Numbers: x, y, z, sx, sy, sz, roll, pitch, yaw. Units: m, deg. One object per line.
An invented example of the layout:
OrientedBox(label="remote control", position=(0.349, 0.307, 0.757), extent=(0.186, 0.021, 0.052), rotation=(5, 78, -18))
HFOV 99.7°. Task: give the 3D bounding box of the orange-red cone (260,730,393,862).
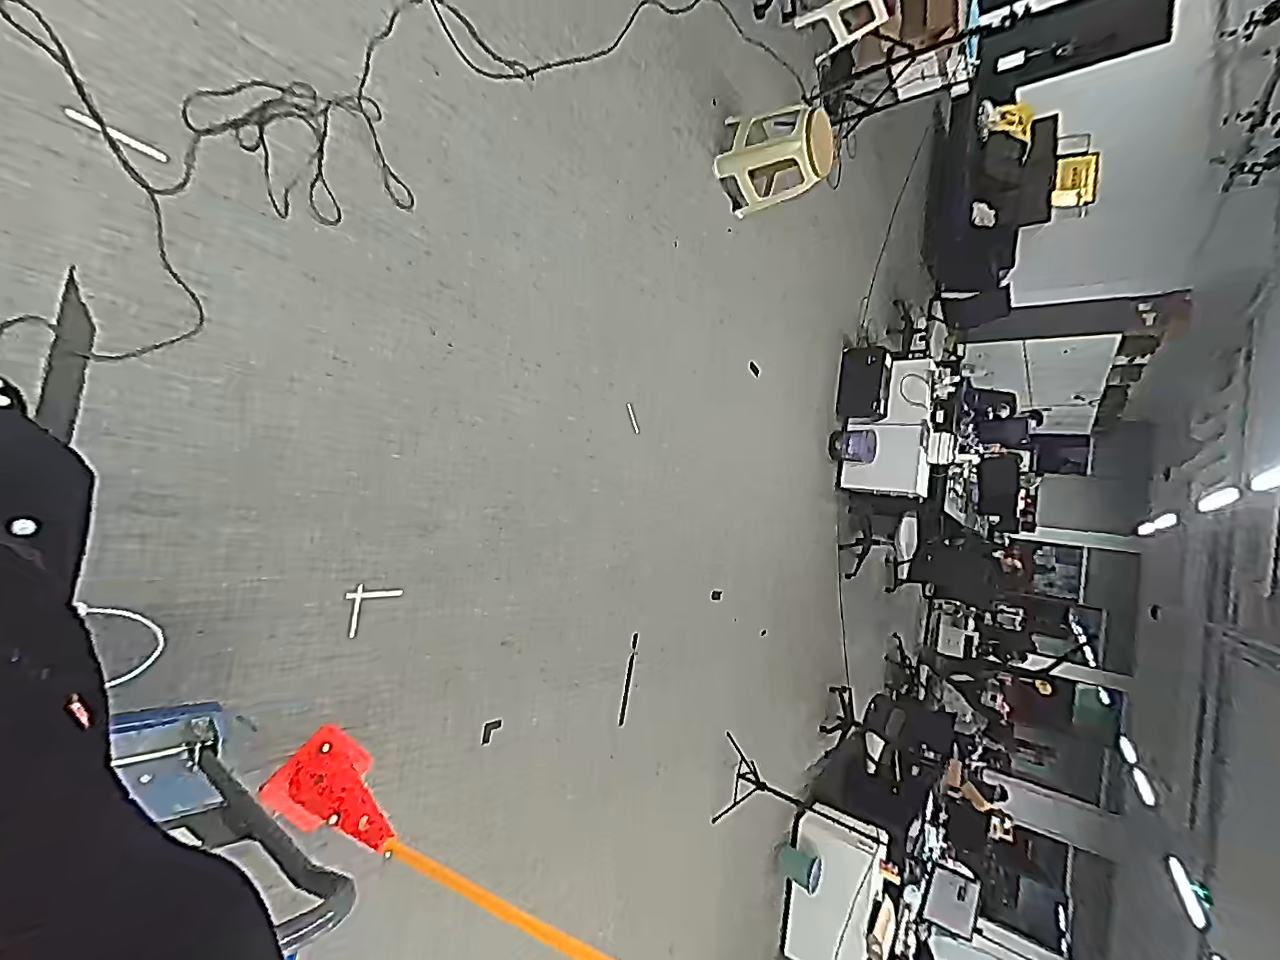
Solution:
OrientedBox(label="orange-red cone", position=(-0.668, 0.765, 1.235), extent=(0.199, 0.360, 0.198), rotation=(-47, 128, -36))

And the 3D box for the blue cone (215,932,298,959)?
OrientedBox(label="blue cone", position=(-0.789, 1.184, 1.151), extent=(0.193, 0.380, 0.192), rotation=(36, 65, -48))
